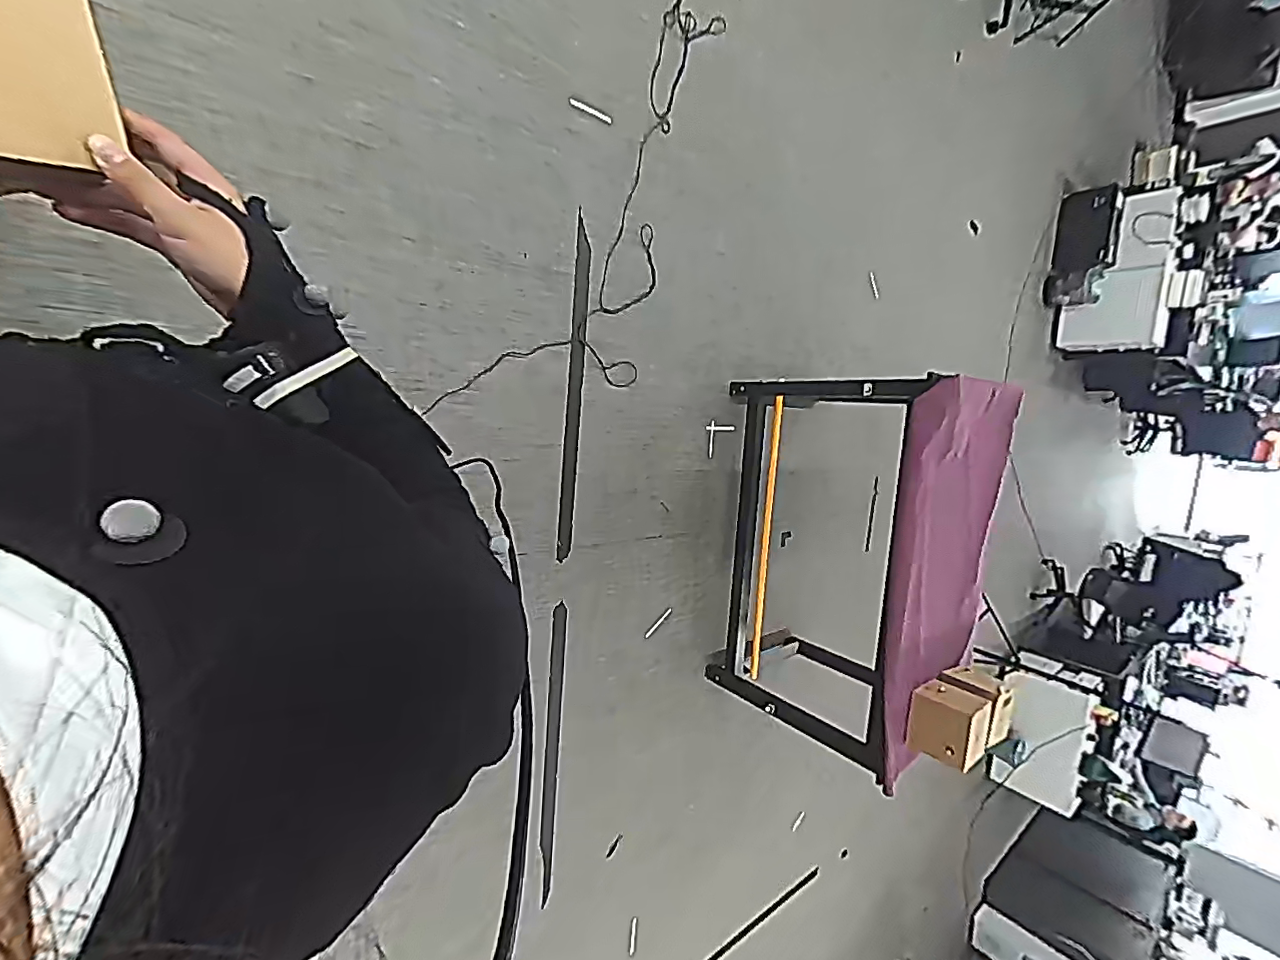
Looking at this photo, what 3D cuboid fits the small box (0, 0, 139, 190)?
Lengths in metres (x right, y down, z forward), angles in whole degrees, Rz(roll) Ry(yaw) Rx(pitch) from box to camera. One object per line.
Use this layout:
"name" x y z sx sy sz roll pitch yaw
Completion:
"small box" -0.405 -0.240 0.252 0.179 0.176 0.168 -37 132 -60

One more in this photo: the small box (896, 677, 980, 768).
"small box" 0.906 0.733 1.651 0.168 0.176 0.179 0 97 -42

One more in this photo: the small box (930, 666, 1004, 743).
"small box" 1.061 0.727 1.778 0.168 0.176 0.179 6 95 -39
